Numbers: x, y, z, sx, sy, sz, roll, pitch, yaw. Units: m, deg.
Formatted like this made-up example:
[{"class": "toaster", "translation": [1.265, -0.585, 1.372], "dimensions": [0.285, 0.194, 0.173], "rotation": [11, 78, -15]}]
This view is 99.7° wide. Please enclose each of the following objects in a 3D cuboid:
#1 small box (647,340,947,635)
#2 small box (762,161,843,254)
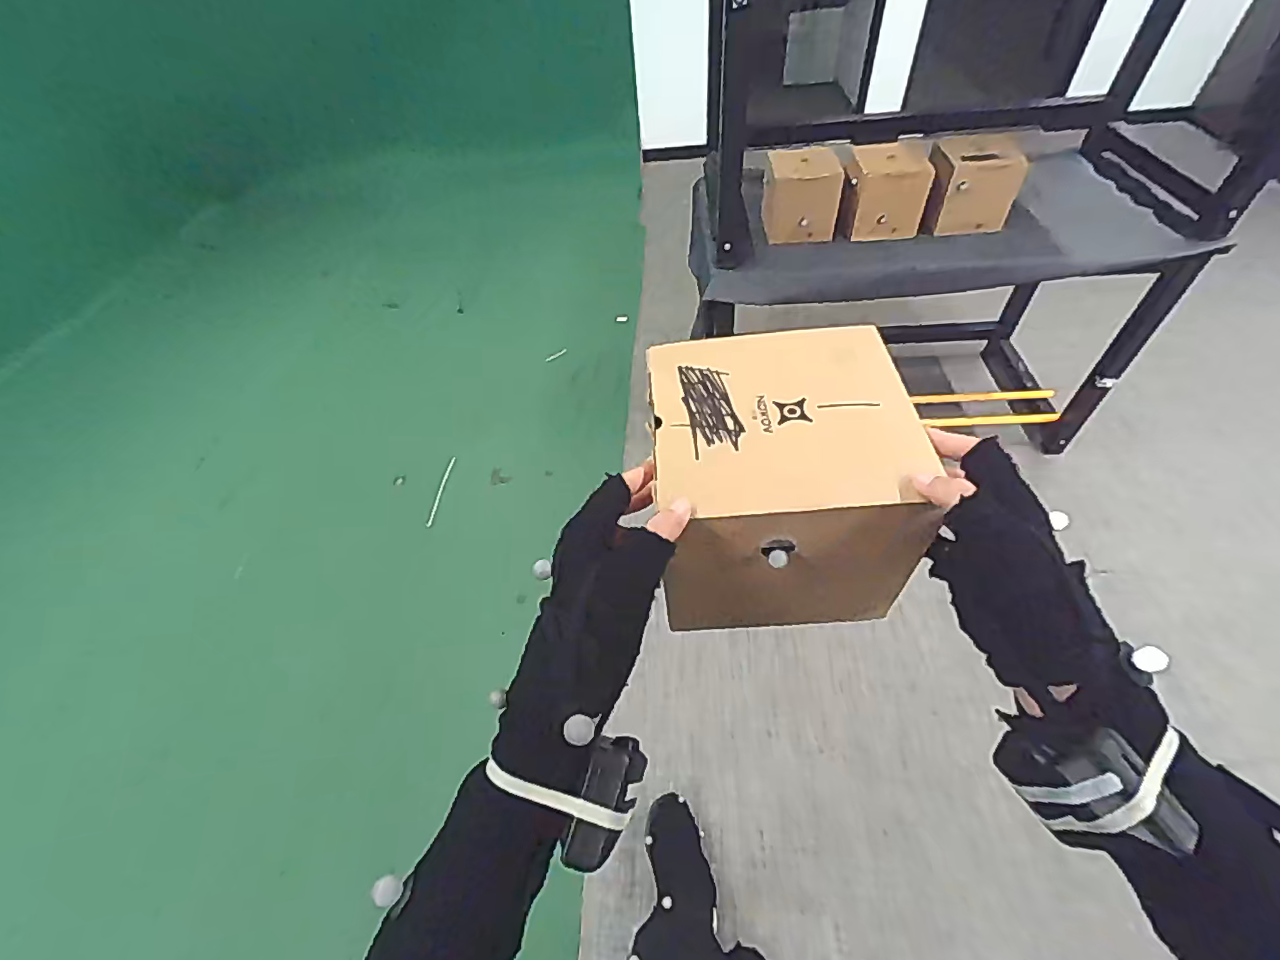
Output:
[{"class": "small box", "translation": [0.101, 0.013, 0.430], "dimensions": [0.179, 0.176, 0.168], "rotation": [-4, 51, 3]}, {"class": "small box", "translation": [0.421, -0.719, 1.431], "dimensions": [0.168, 0.176, 0.179], "rotation": [-2, 49, 5]}]
